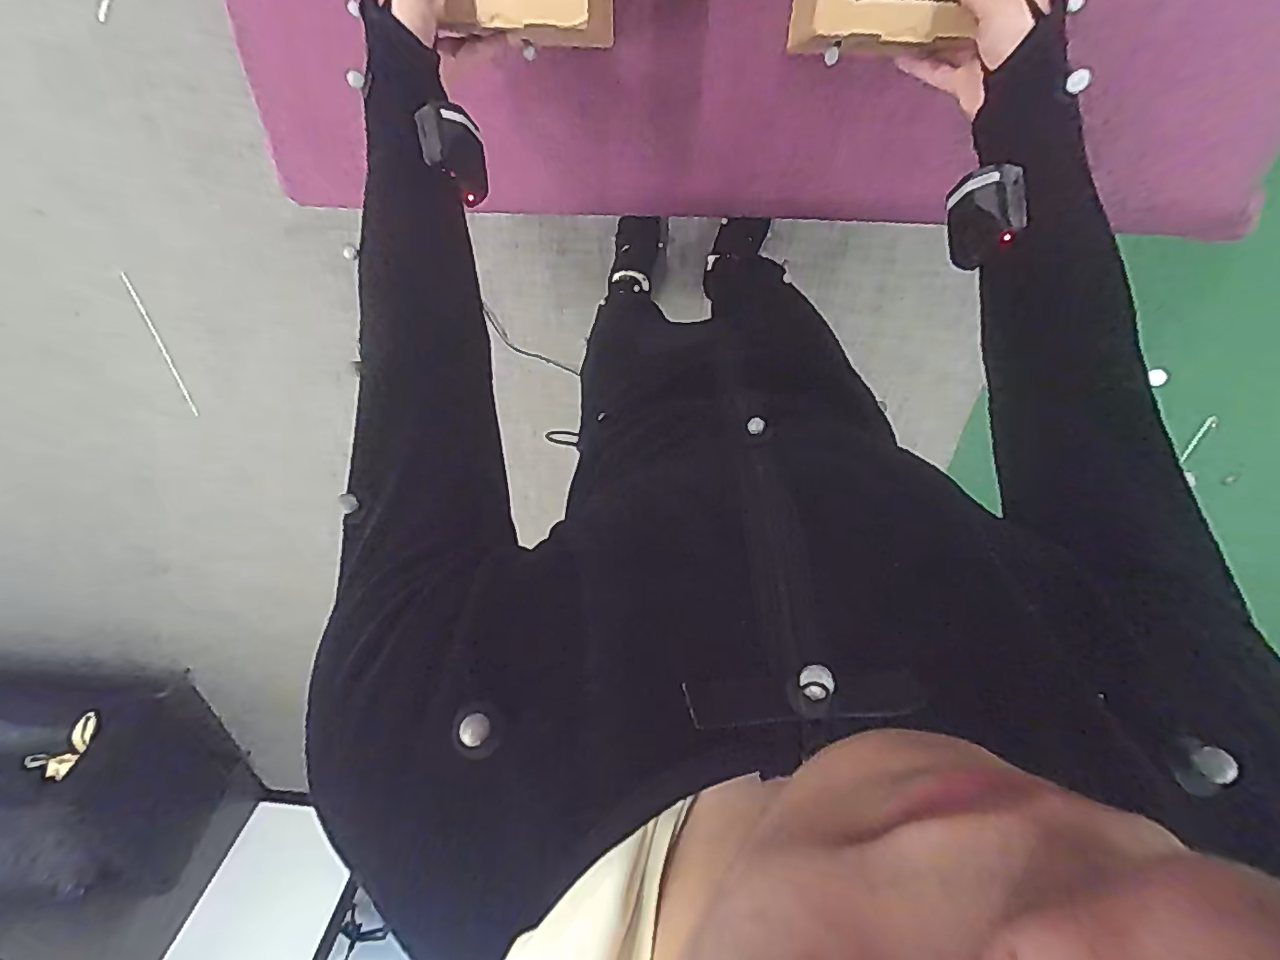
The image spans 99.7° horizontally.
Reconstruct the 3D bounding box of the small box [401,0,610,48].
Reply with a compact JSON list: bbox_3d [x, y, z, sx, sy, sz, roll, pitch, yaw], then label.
[{"bbox_3d":[-0.118,-0.519,0.494,0.168,0.176,0.179,5,125,3],"label":"small box"}]

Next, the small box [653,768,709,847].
[{"bbox_3d":[0.147,1.152,1.905,0.168,0.176,0.179,11,125,0],"label":"small box"}]
